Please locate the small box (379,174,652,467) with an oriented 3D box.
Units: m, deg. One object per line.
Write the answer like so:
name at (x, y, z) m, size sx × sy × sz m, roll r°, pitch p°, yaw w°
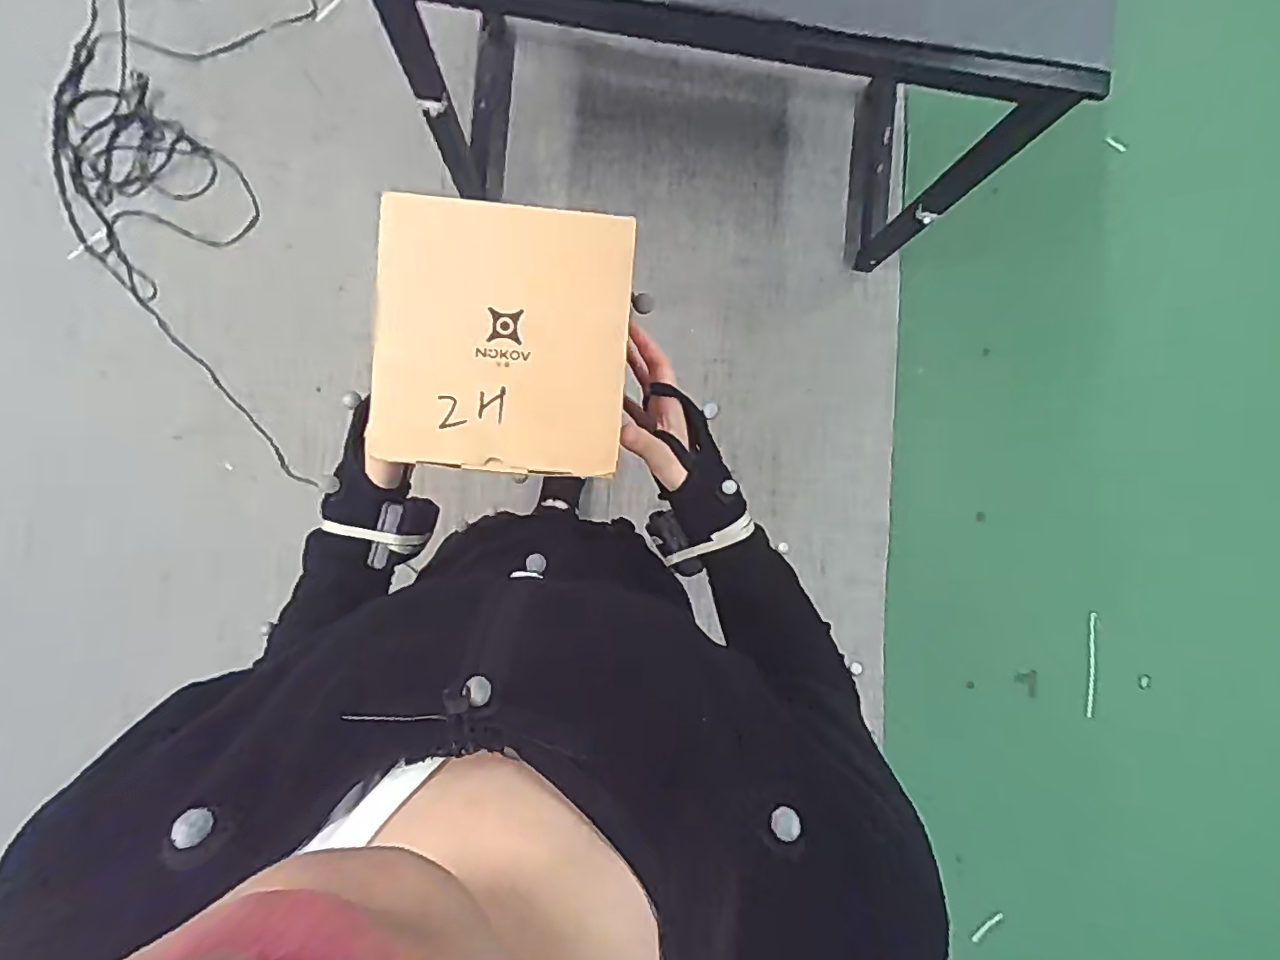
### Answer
small box at (-0.086, -0.106, 0.431) m, size 0.168 × 0.176 × 0.179 m, roll 5°, pitch 94°, yaw -3°
